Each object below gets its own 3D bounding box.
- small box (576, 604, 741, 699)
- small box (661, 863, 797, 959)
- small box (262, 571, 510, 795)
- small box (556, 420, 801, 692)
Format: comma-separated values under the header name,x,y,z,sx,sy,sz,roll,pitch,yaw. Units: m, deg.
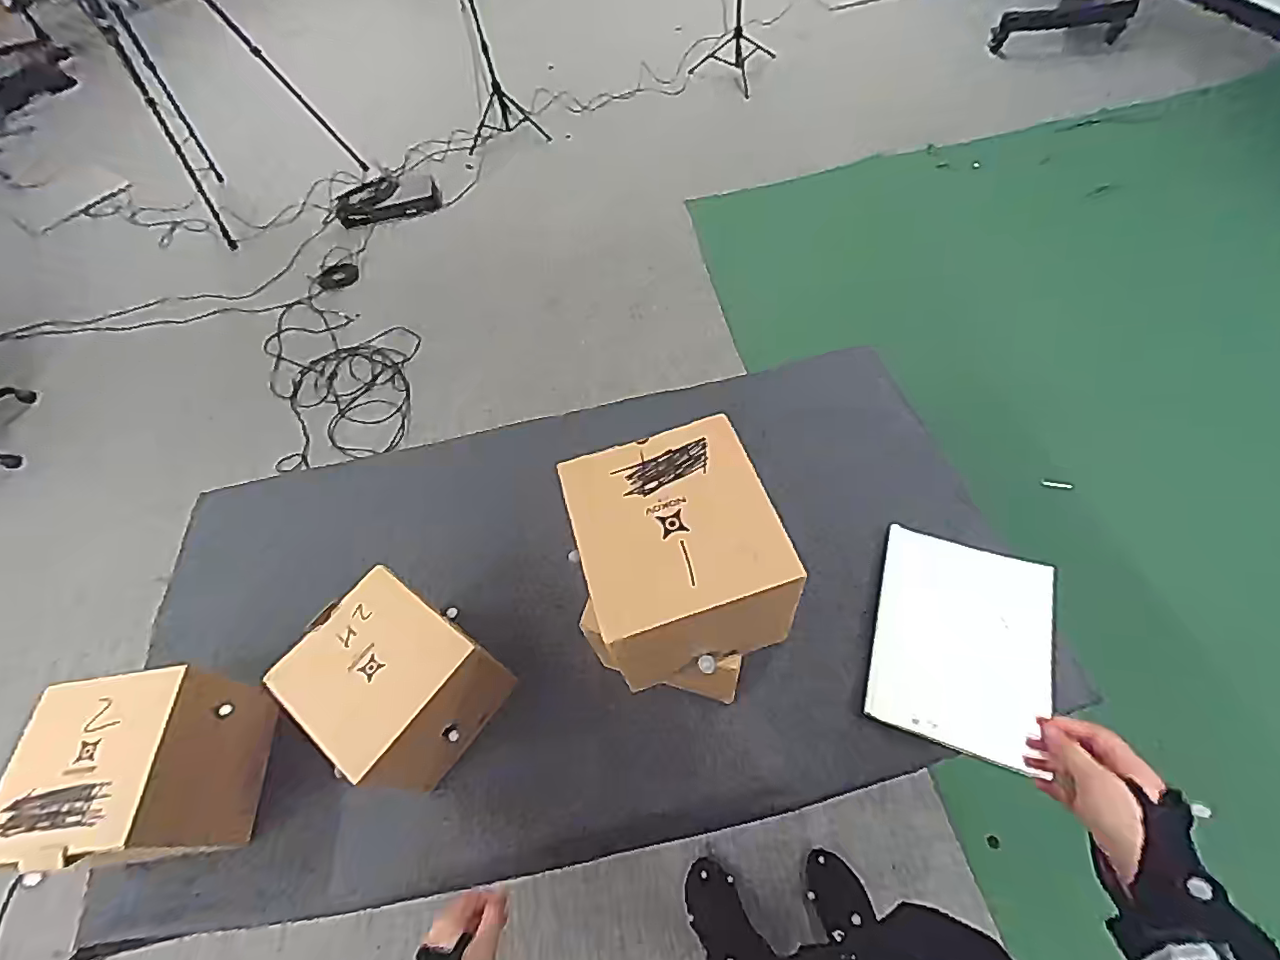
name,x,y,z,sx,sy,sz,roll,pitch,yaw
small box,0.046,0.154,0.662,0.179,0.176,0.168,11,60,15
small box,0.175,0.876,1.033,0.176,0.168,0.179,40,43,-4
small box,-0.286,0.245,0.648,0.179,0.176,0.168,30,65,24
small box,0.032,0.078,0.517,0.168,0.176,0.179,-18,57,-3
